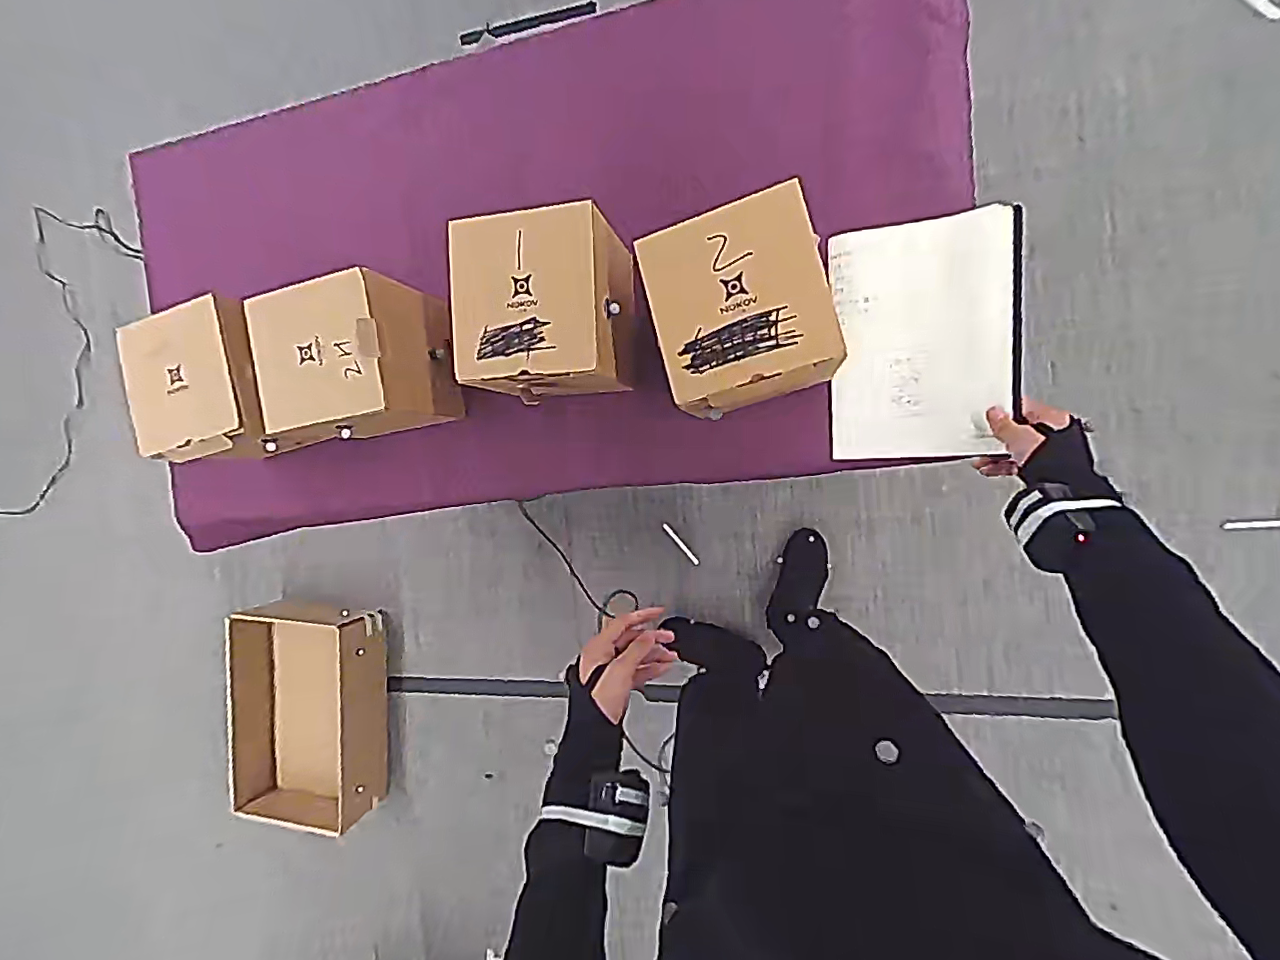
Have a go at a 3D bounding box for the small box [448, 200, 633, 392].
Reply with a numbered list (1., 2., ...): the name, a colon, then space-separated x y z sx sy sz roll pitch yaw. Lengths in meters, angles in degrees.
1. small box: -0.107 -0.200 0.646 0.168 0.176 0.179 -1 92 14

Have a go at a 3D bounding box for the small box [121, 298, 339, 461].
1. small box: -0.561 -0.130 0.761 0.168 0.176 0.179 -13 90 13
